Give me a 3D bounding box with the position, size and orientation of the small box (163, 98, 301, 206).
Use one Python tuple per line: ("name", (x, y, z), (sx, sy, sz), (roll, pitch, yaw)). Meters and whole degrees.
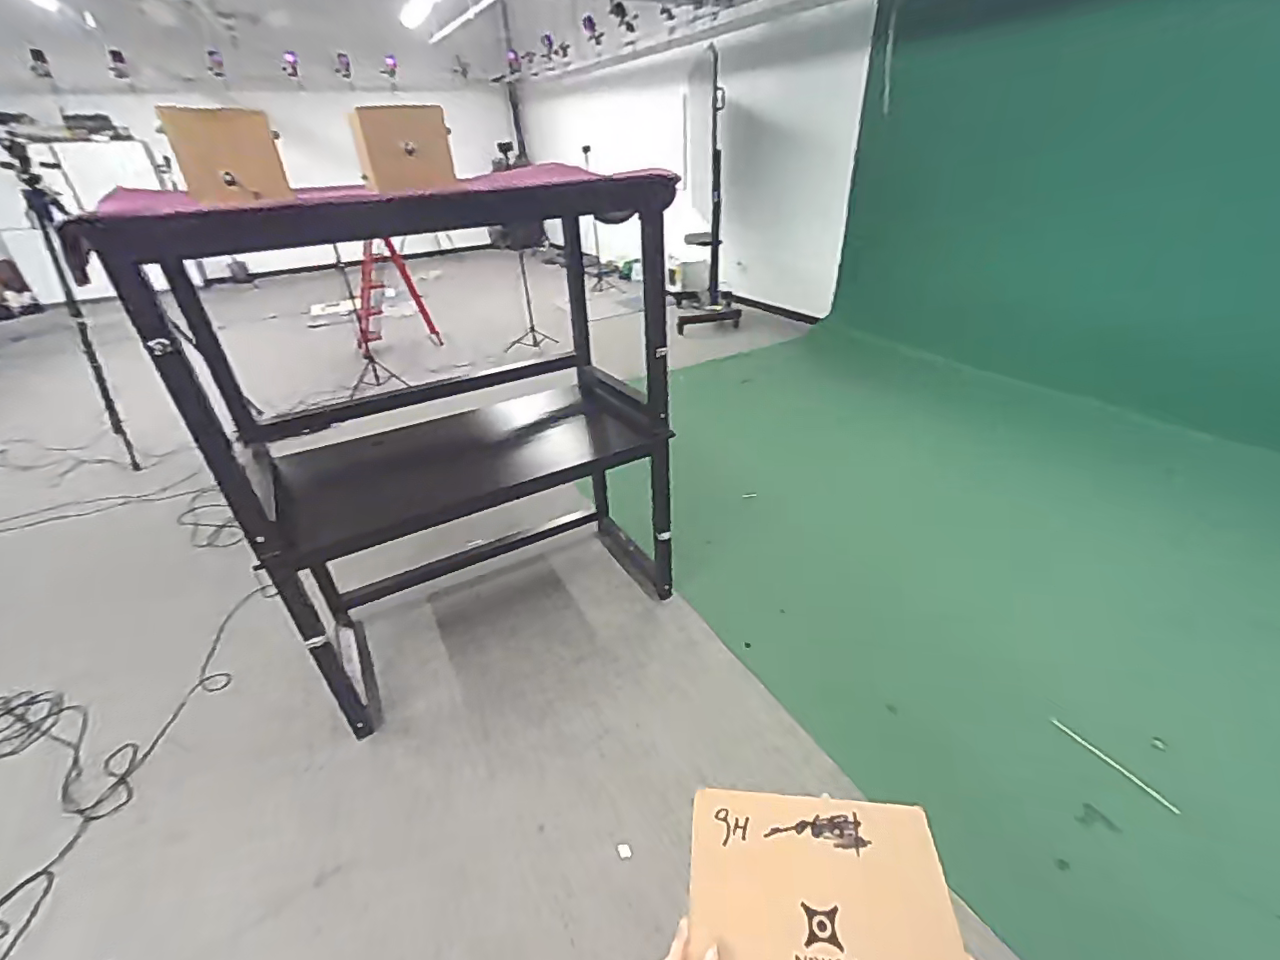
("small box", (-0.792, -0.637, 1.063), (0.168, 0.176, 0.179), (-20, 35, -27))
